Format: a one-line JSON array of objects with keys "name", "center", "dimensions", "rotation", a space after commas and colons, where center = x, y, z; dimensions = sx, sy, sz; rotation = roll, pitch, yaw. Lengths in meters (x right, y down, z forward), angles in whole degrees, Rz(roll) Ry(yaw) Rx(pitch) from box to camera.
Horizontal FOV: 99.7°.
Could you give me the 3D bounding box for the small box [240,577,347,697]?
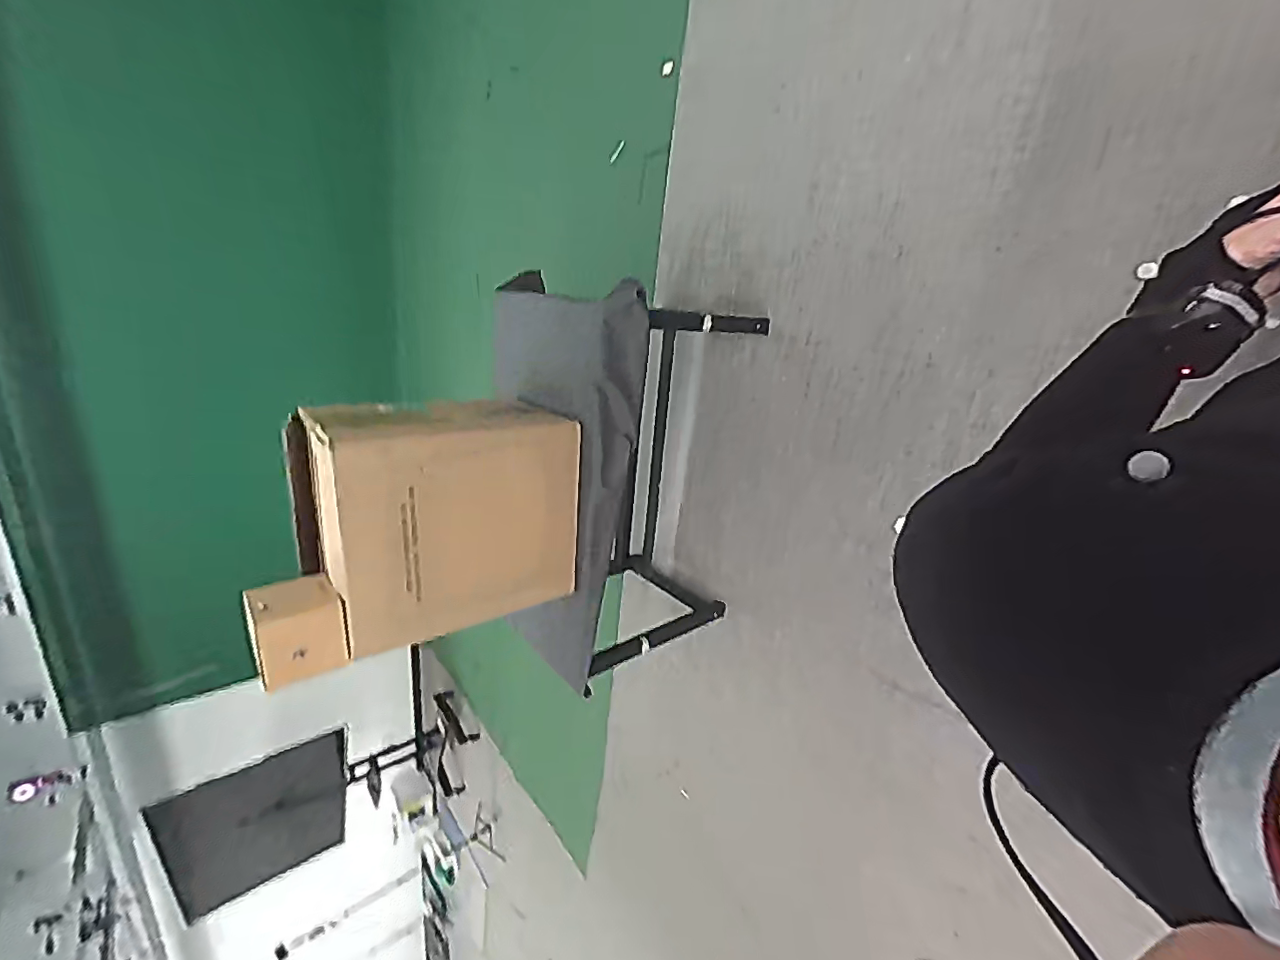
[{"name": "small box", "center": [-0.792, 0.352, 1.243], "dimensions": [0.168, 0.176, 0.179], "rotation": [23, 117, 43]}]
